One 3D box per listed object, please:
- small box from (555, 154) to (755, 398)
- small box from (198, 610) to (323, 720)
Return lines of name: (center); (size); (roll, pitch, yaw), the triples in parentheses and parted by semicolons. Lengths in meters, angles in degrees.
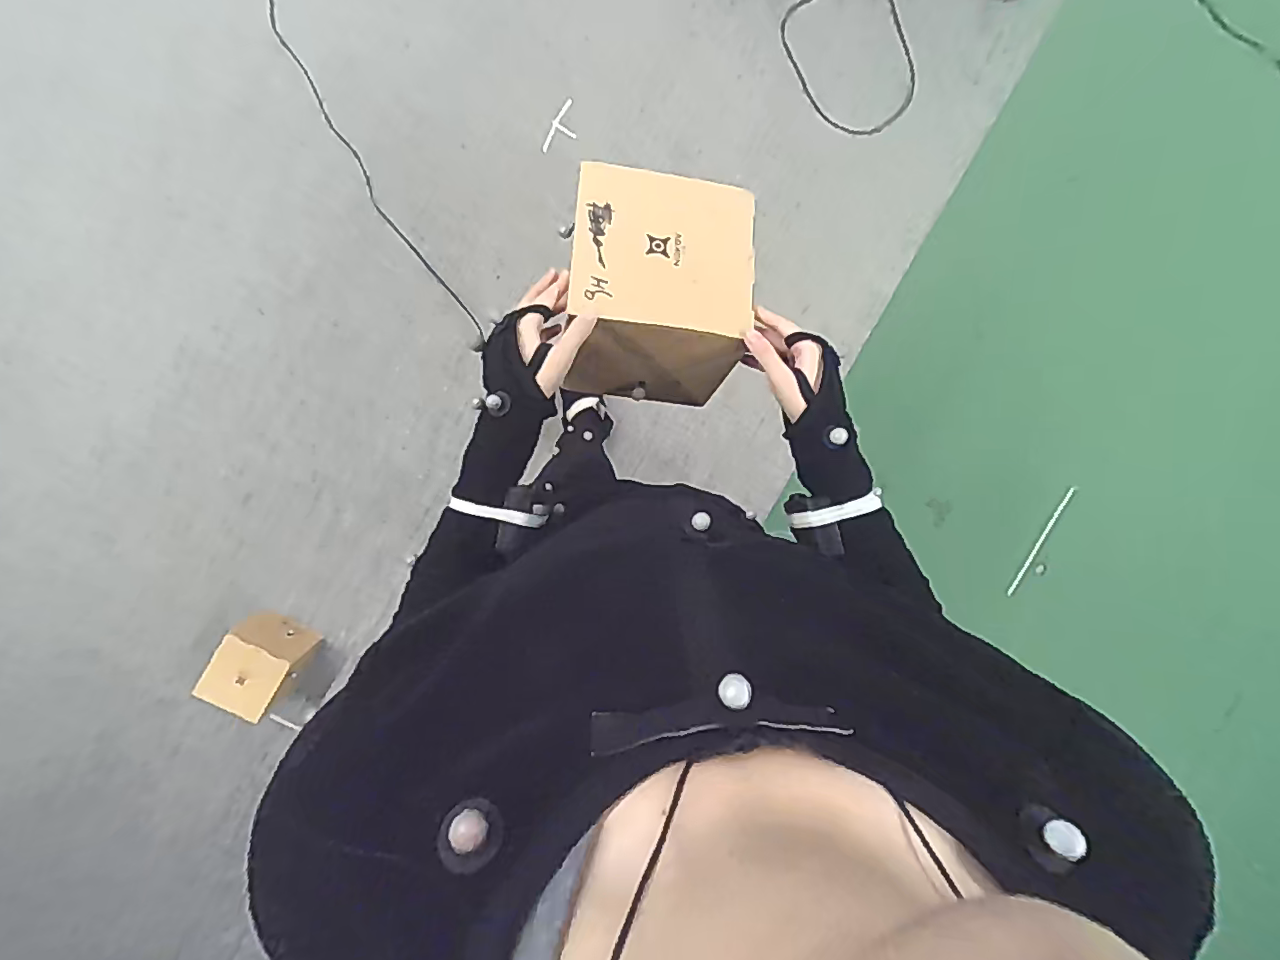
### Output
small box: (0.008, -0.200, 0.580); (0.179, 0.176, 0.168); (7, 75, -9)
small box: (-0.953, 0.463, 1.378); (0.168, 0.176, 0.179); (31, 92, -8)
